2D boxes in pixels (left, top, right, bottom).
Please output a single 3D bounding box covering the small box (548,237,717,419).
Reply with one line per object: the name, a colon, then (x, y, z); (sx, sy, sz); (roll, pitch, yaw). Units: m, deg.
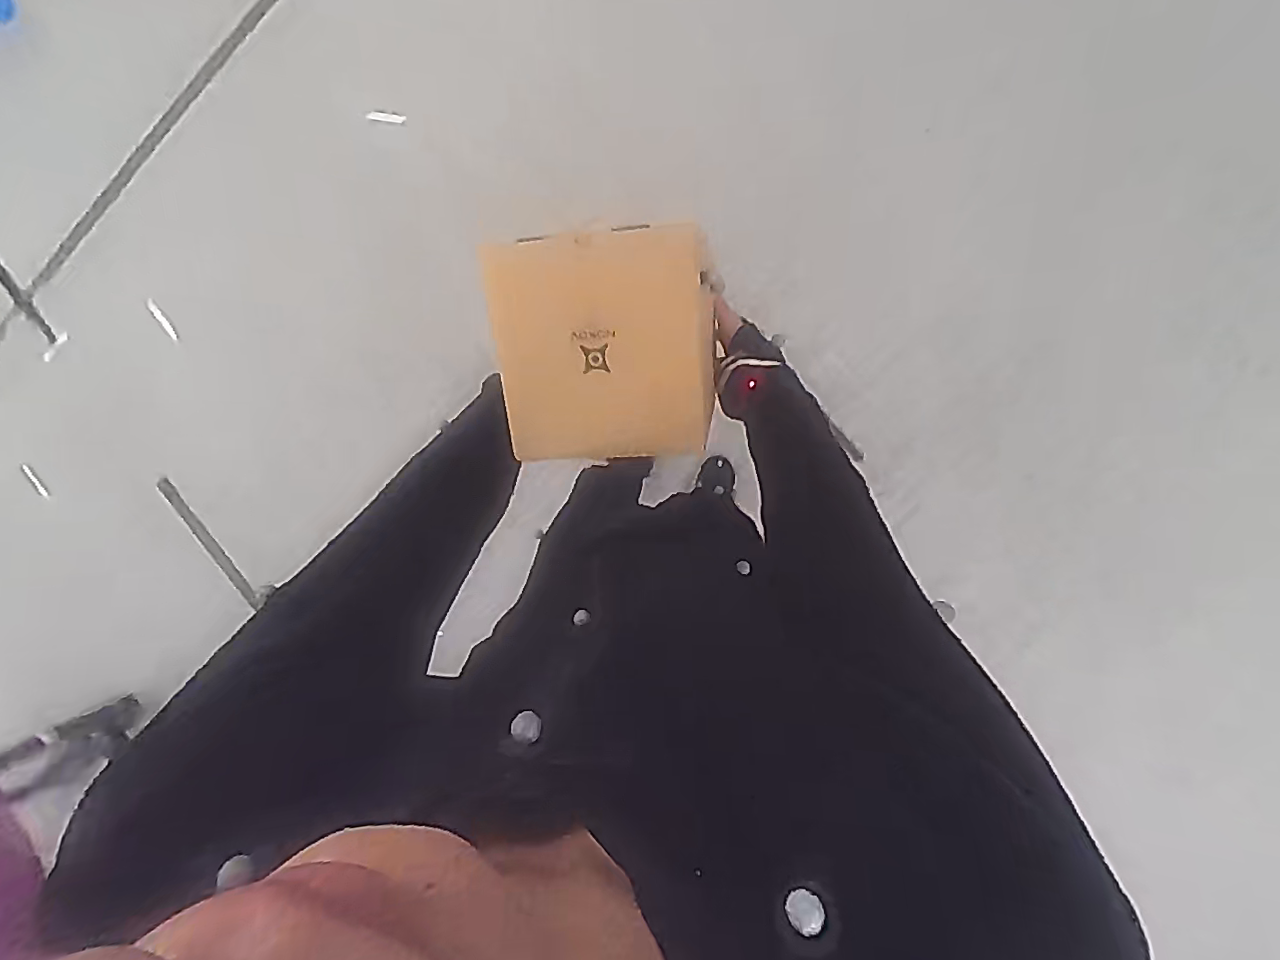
small box: (0.005, -0.181, 0.643); (0.168, 0.176, 0.179); (-2, 111, 11)
